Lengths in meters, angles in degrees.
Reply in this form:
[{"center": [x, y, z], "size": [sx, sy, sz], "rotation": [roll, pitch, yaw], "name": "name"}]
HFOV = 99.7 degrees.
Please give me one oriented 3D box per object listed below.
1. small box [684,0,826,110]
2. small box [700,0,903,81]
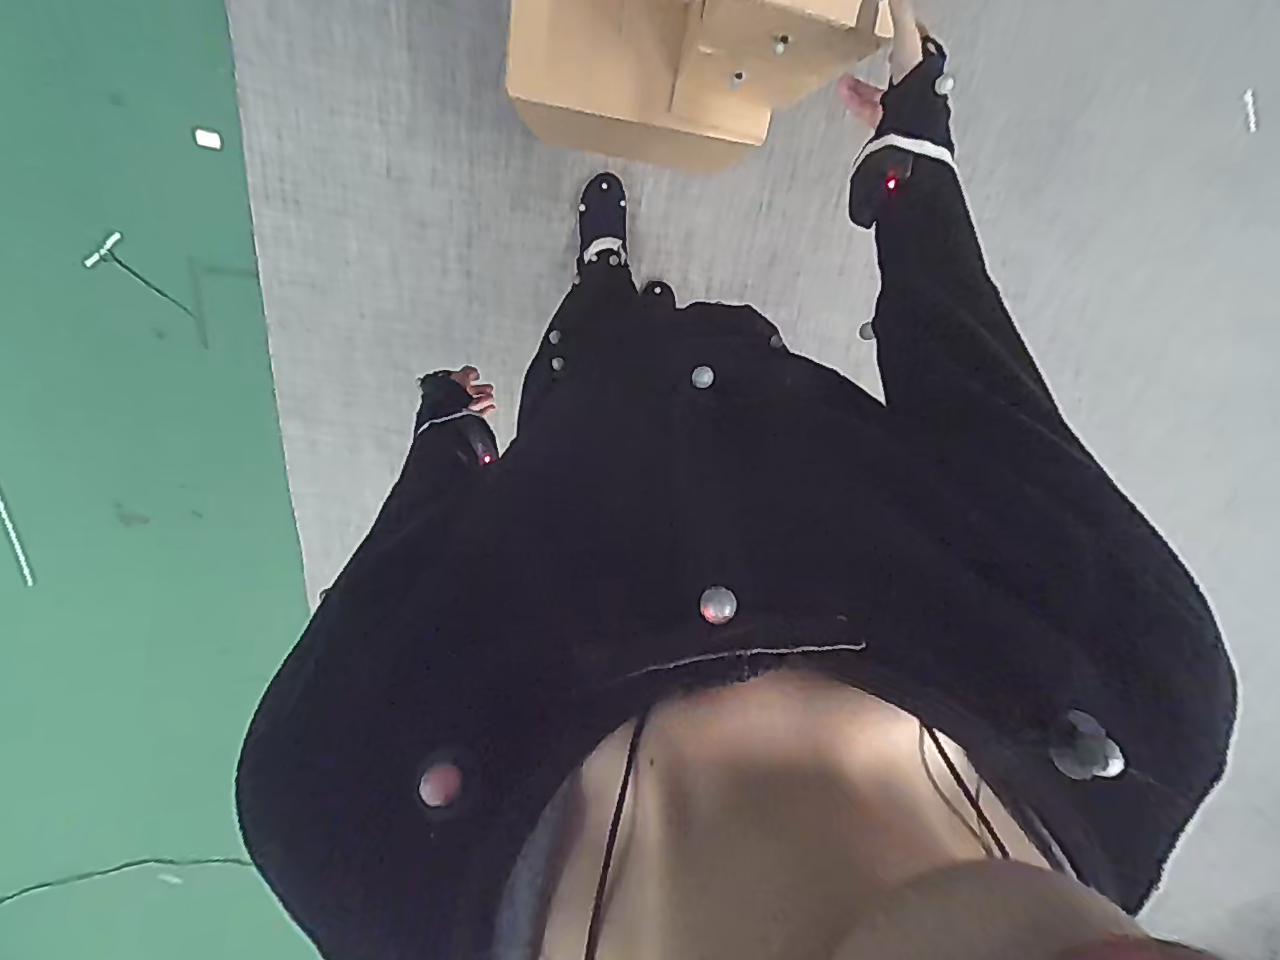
[{"center": [0.163, -0.617, 0.719], "size": [0.179, 0.176, 0.168], "rotation": [9, 115, -6], "name": "small box"}, {"center": [0.176, -0.552, 0.569], "size": [0.179, 0.176, 0.168], "rotation": [10, 113, -7], "name": "small box"}]
